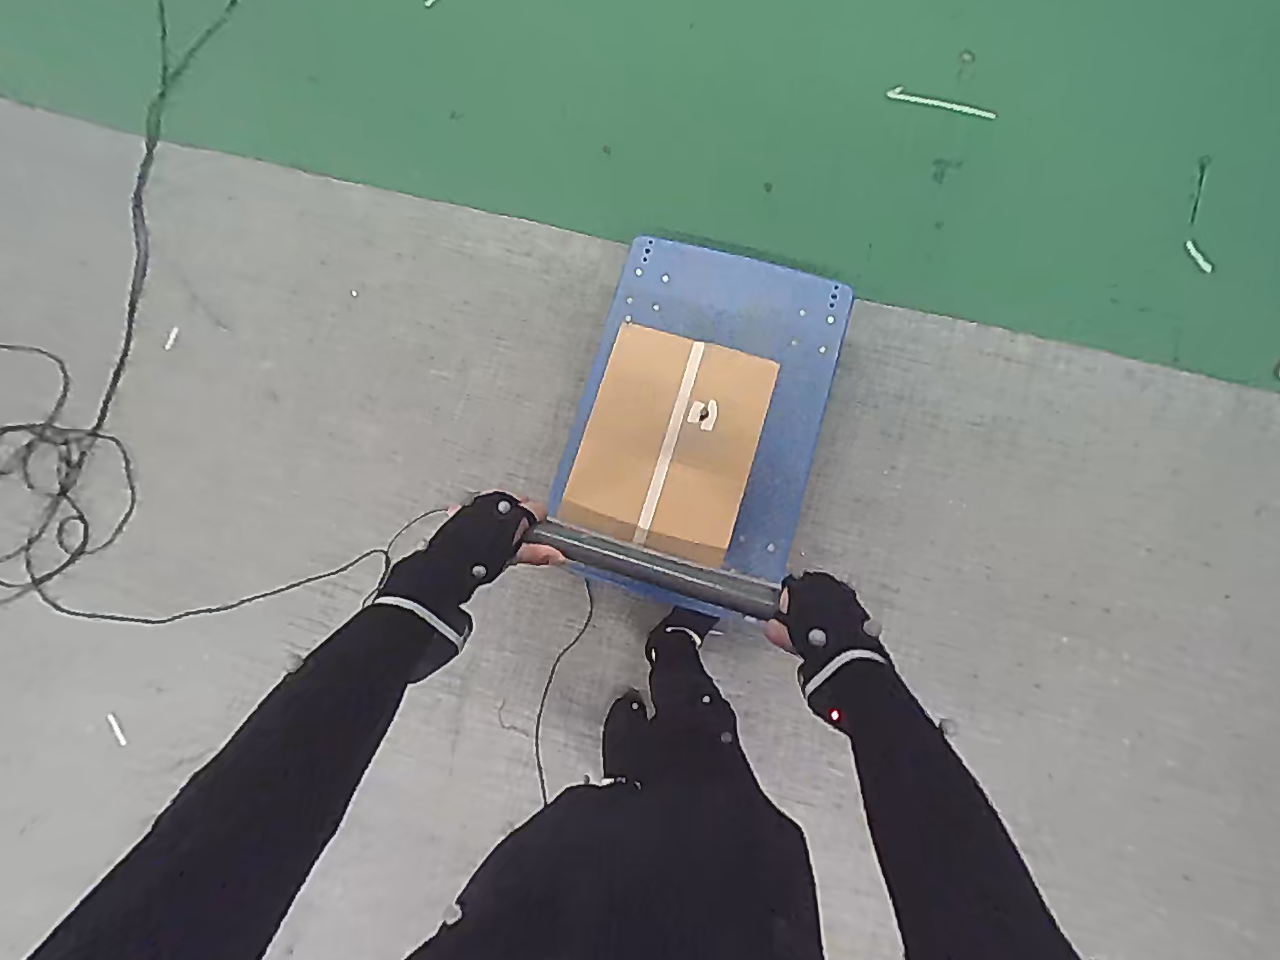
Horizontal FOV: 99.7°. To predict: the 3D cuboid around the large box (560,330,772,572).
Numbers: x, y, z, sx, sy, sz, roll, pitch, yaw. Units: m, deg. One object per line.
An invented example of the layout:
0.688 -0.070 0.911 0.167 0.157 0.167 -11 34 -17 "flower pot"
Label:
0.058 -0.038 1.152 0.320 0.320 0.408 17 81 4 "large box"
